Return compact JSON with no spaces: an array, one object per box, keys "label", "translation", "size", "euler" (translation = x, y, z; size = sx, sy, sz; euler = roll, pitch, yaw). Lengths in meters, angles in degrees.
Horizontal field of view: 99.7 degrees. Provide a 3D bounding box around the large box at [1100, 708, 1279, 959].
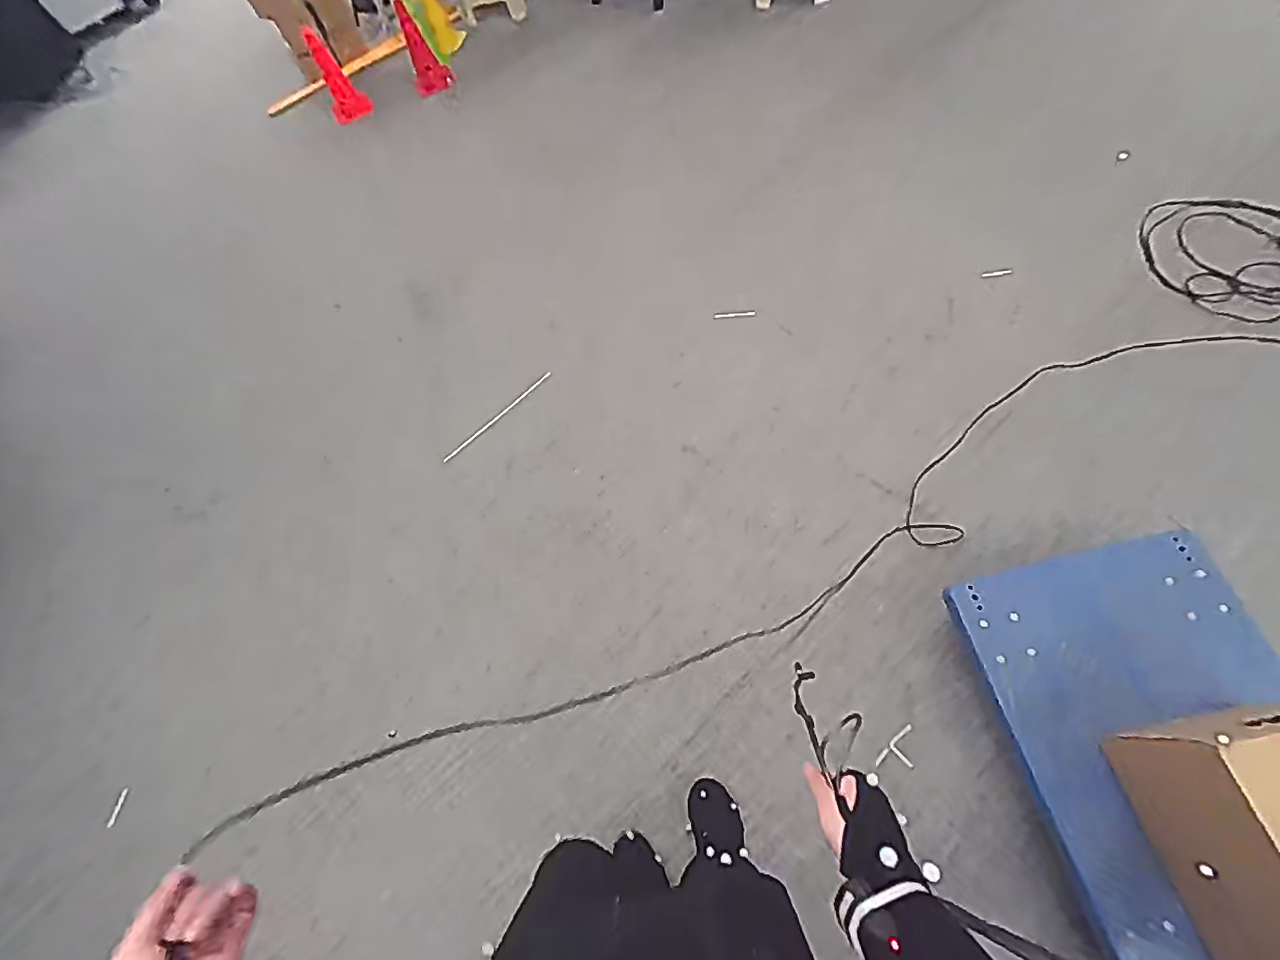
[{"label":"large box","translation":[1.104,0.618,0.886],"size":[0.320,0.320,0.408],"euler":[-14,64,3]}]
